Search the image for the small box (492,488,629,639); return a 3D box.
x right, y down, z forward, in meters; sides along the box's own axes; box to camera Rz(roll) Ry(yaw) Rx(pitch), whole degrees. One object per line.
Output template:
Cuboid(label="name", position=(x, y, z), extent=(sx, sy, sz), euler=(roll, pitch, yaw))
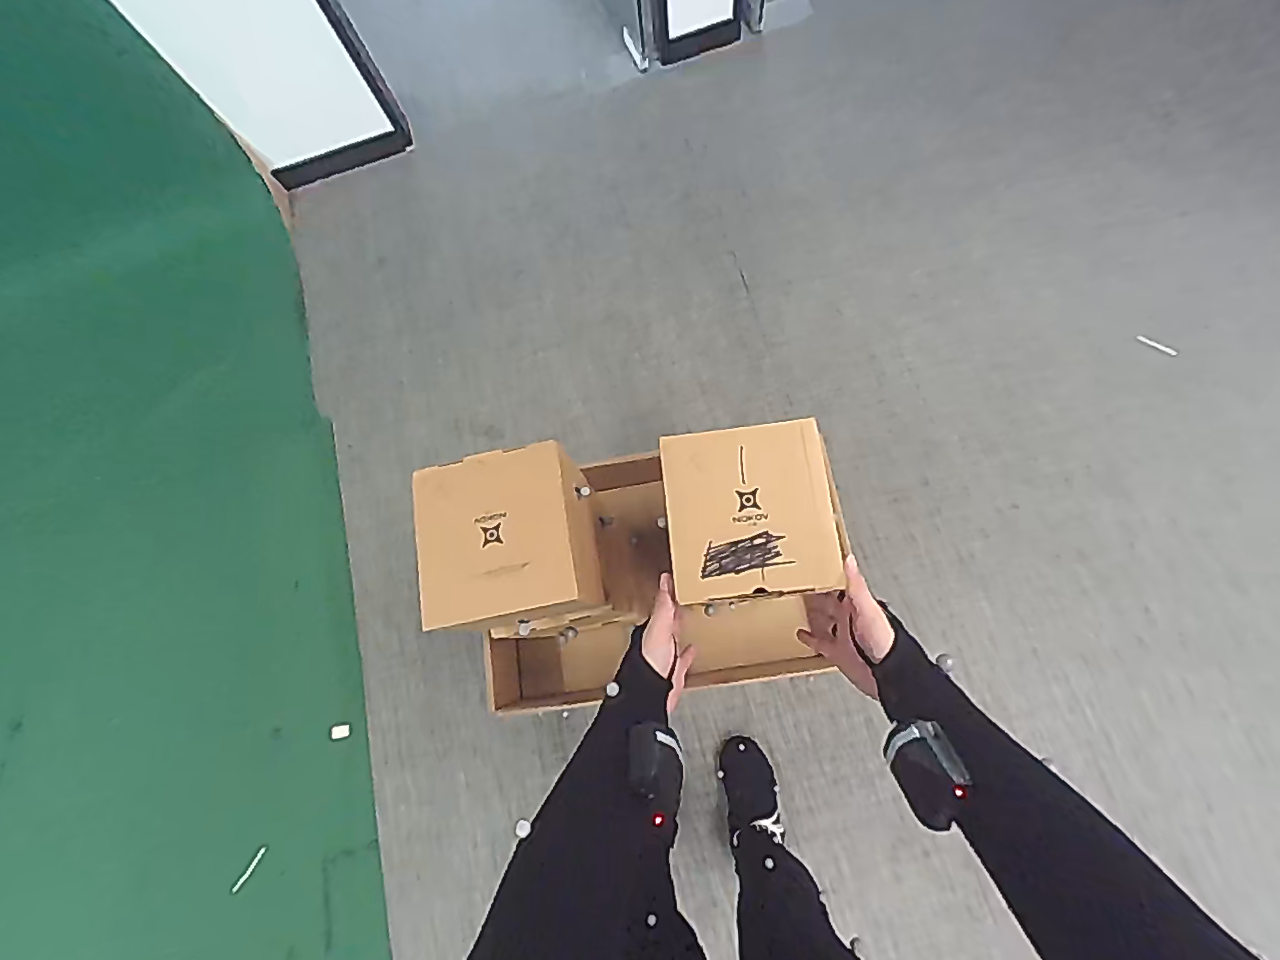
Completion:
Cuboid(label="small box", position=(-0.117, 0.127, 0.786), extent=(0.168, 0.176, 0.179), euler=(-12, 75, 3))

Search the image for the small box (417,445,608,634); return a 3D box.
Cuboid(label="small box", position=(-0.139, 0.078, 0.631), extent=(0.168, 0.176, 0.179), euler=(-11, 75, 4))

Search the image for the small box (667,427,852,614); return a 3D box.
Cuboid(label="small box", position=(0.124, 0.054, 0.613), extent=(0.168, 0.176, 0.179), euler=(-6, 76, 5))
